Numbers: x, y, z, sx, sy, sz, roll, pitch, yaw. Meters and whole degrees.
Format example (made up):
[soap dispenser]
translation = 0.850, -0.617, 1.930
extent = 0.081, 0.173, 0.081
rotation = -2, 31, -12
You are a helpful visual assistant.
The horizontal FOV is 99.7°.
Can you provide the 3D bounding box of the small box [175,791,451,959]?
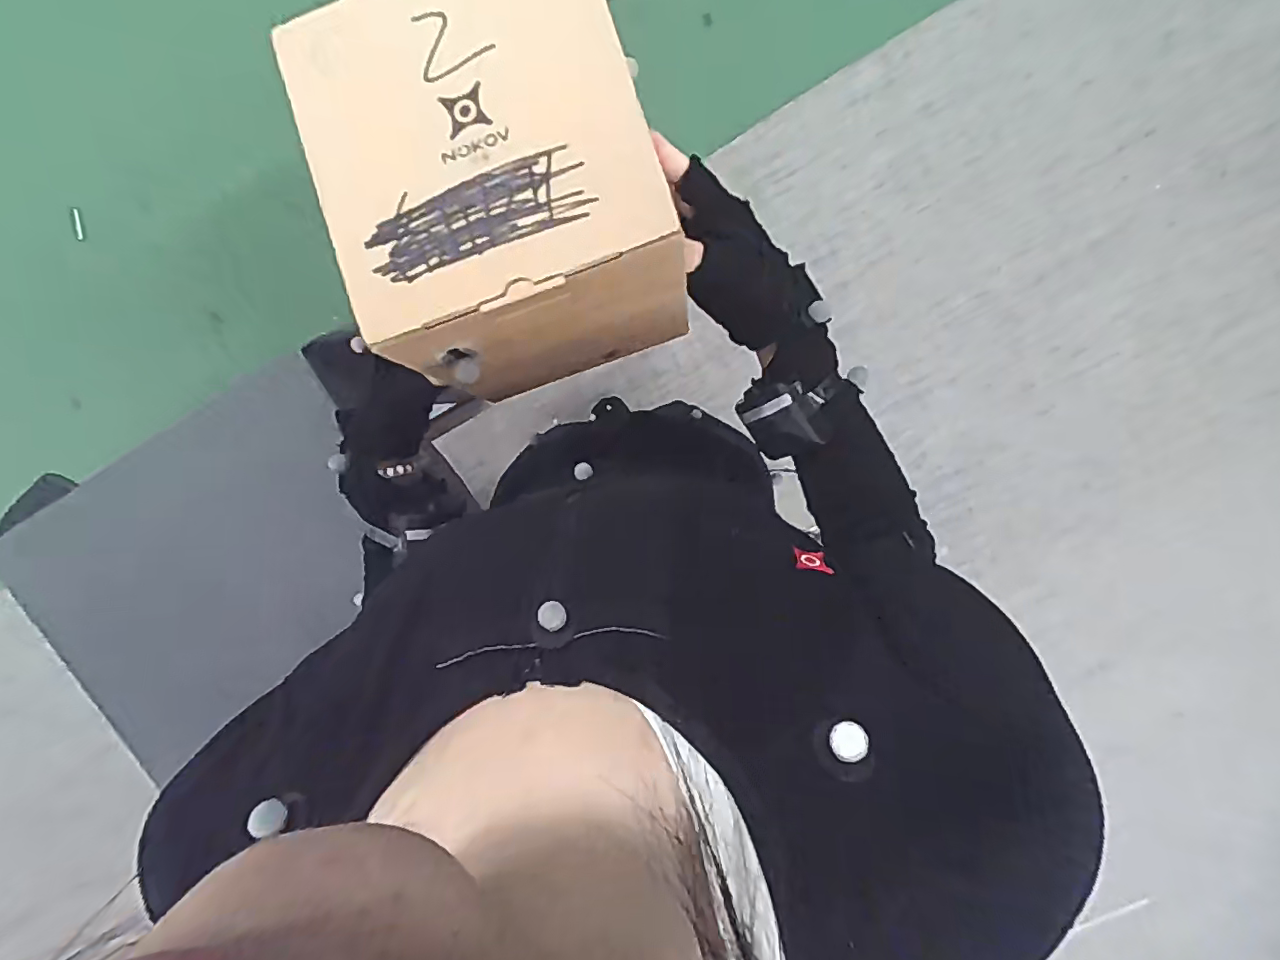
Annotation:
[small box]
translation = -0.354, 0.505, 0.617
extent = 0.179, 0.176, 0.168
rotation = -29, 96, 7
